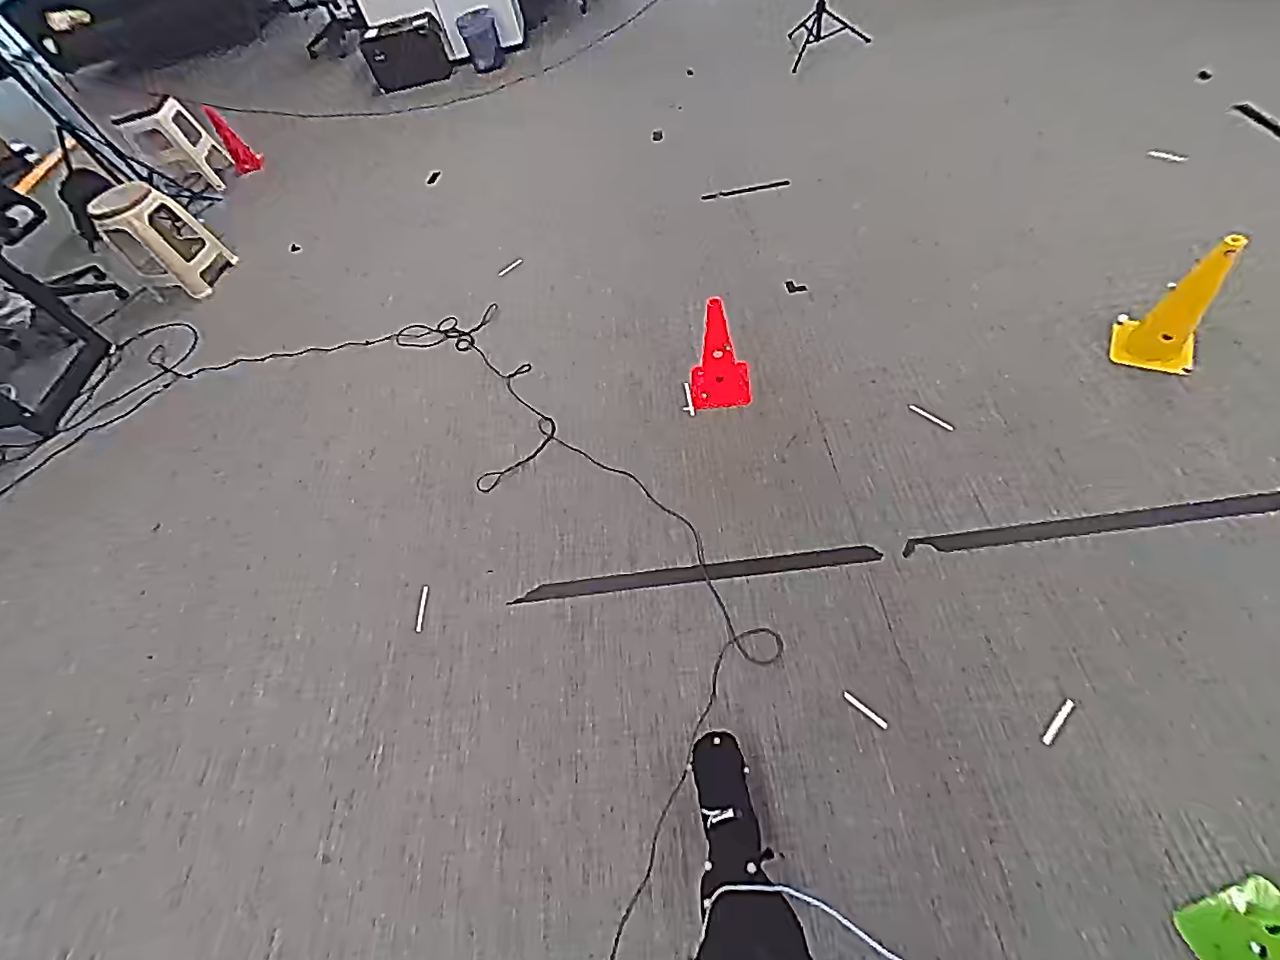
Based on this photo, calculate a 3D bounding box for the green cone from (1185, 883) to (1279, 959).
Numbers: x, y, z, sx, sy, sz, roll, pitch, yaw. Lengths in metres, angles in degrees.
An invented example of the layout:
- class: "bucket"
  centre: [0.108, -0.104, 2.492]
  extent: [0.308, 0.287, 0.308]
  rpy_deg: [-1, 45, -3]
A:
- class: "green cone"
  centre: [1.052, 0.734, 0.775]
  extent: [0.202, 0.368, 0.200]
  rpy_deg: [-23, 54, -2]

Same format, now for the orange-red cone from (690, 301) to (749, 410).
- class: "orange-red cone"
  centre: [0.247, -0.413, 1.717]
  extent: [0.199, 0.360, 0.198]
  rpy_deg: [-2, 57, 9]
